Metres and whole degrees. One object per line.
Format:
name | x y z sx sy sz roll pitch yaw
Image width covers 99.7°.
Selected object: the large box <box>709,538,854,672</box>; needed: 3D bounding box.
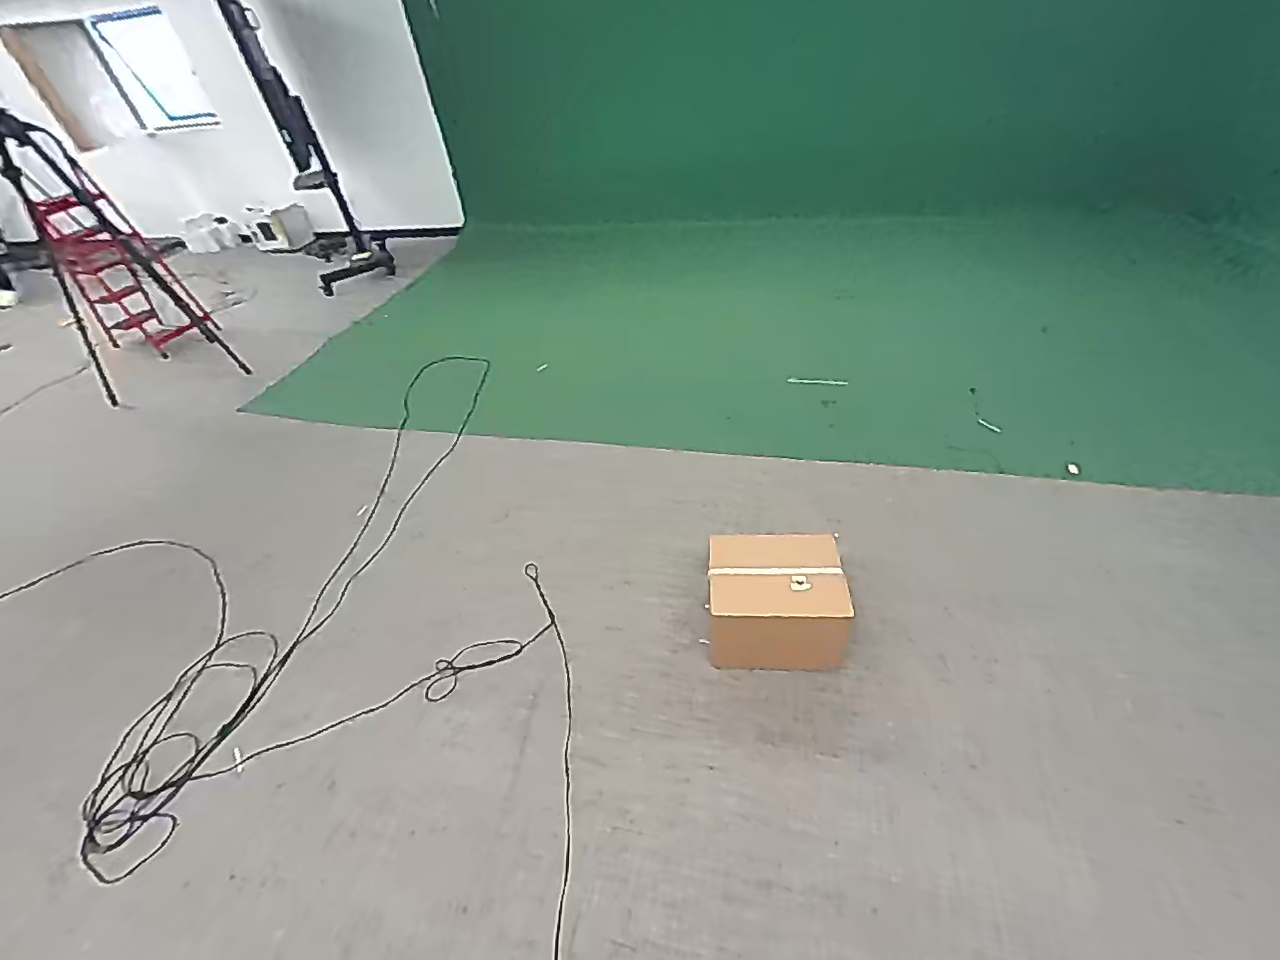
large box | 0.433 0.407 1.755 0.408 0.320 0.320 -1 42 7
